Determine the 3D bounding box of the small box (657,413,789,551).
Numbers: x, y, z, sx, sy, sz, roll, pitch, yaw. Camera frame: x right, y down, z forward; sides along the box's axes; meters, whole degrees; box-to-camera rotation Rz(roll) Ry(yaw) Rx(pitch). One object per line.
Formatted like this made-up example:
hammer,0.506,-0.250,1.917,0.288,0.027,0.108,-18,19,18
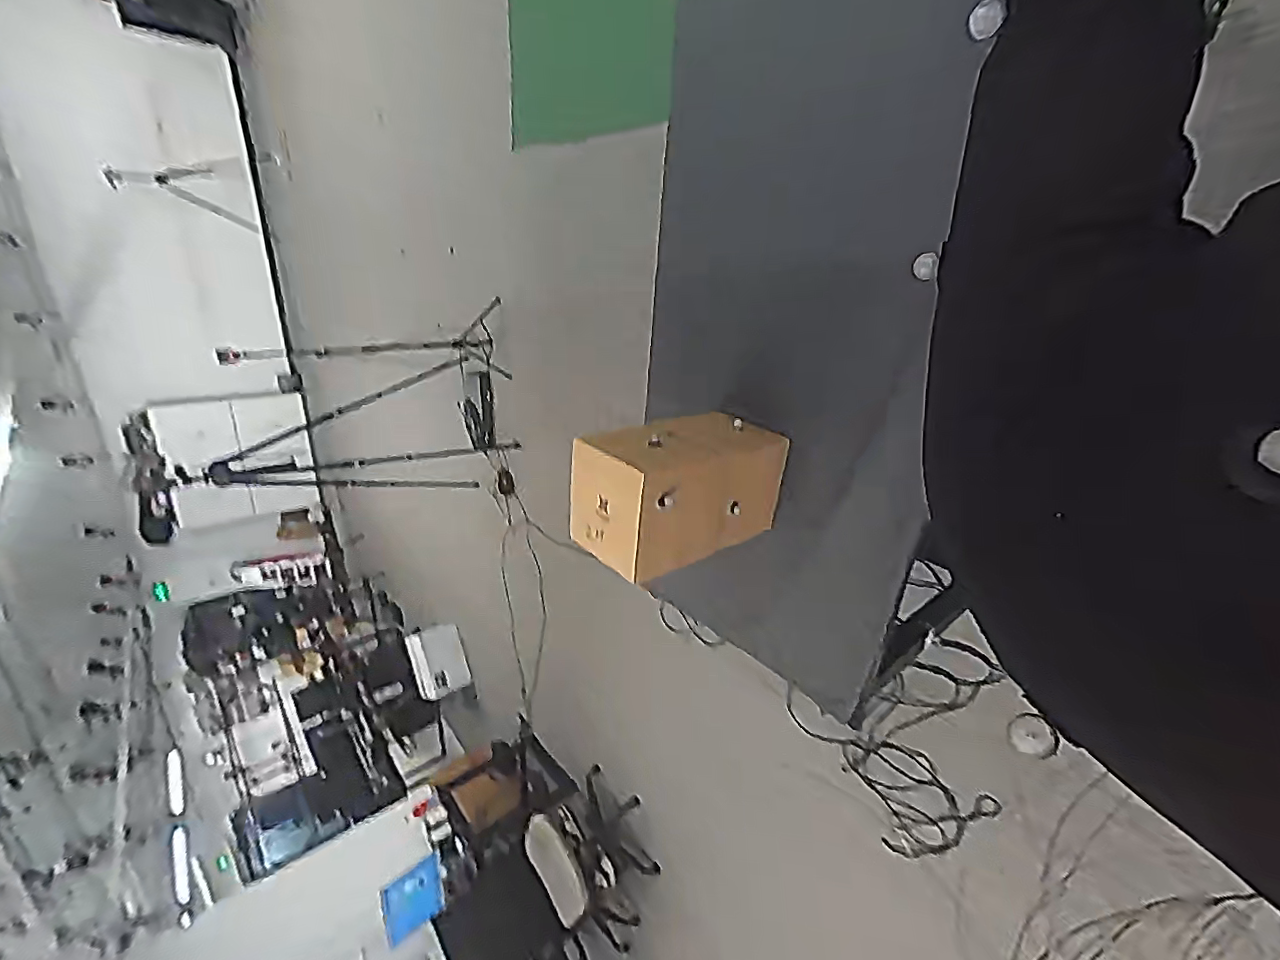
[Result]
small box,0.135,-0.006,0.939,0.168,0.176,0.179,29,122,42

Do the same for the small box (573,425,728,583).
small box,0.015,0.023,0.829,0.168,0.176,0.179,27,121,43
